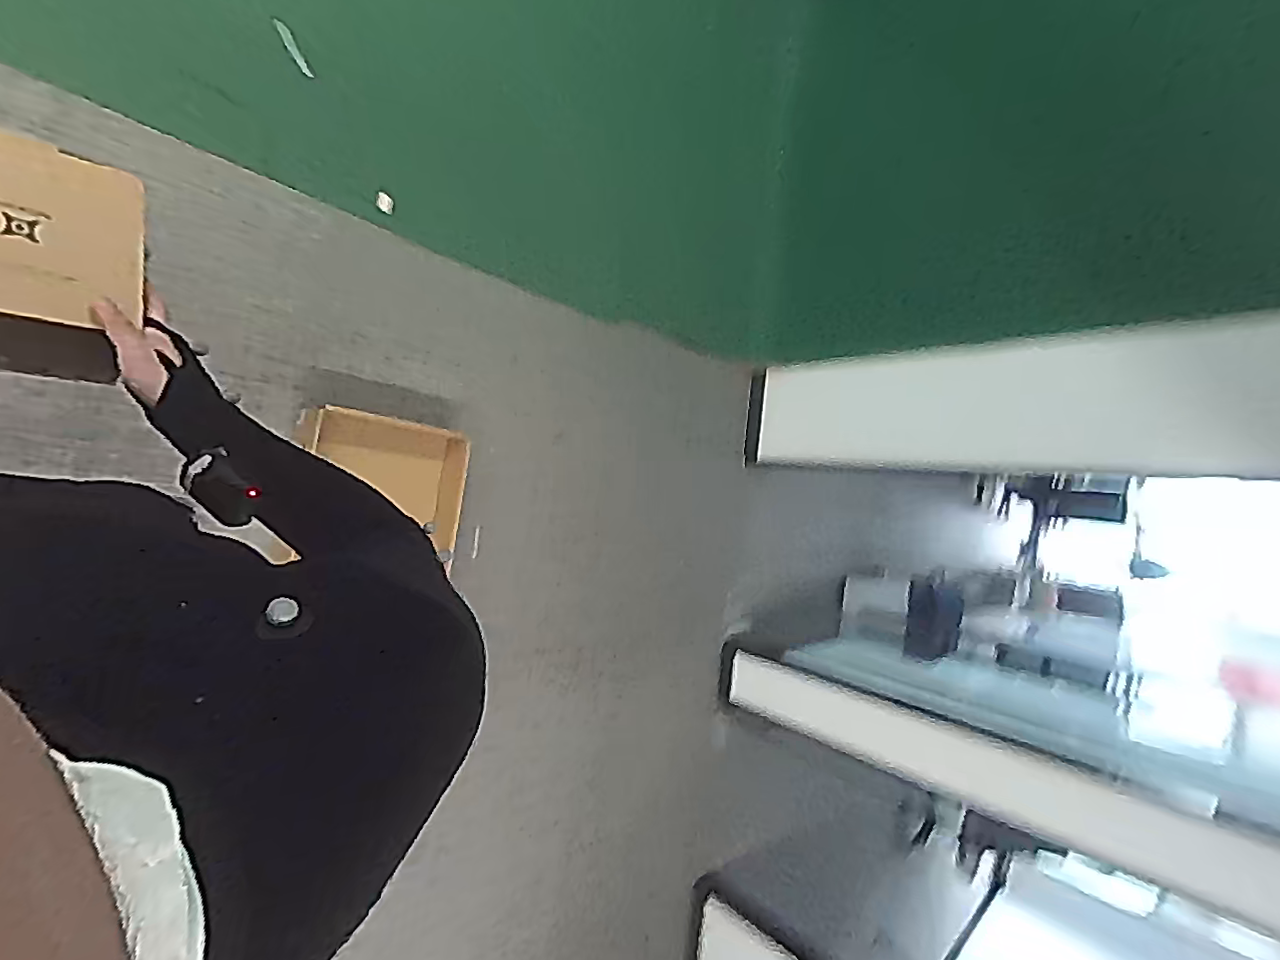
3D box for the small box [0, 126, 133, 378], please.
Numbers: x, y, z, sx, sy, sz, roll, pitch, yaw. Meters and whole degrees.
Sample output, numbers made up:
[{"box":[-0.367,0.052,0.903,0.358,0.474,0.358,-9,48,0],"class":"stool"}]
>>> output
[{"box":[-0.613,-0.215,0.519,0.168,0.176,0.179,1,80,-51],"class":"small box"}]
